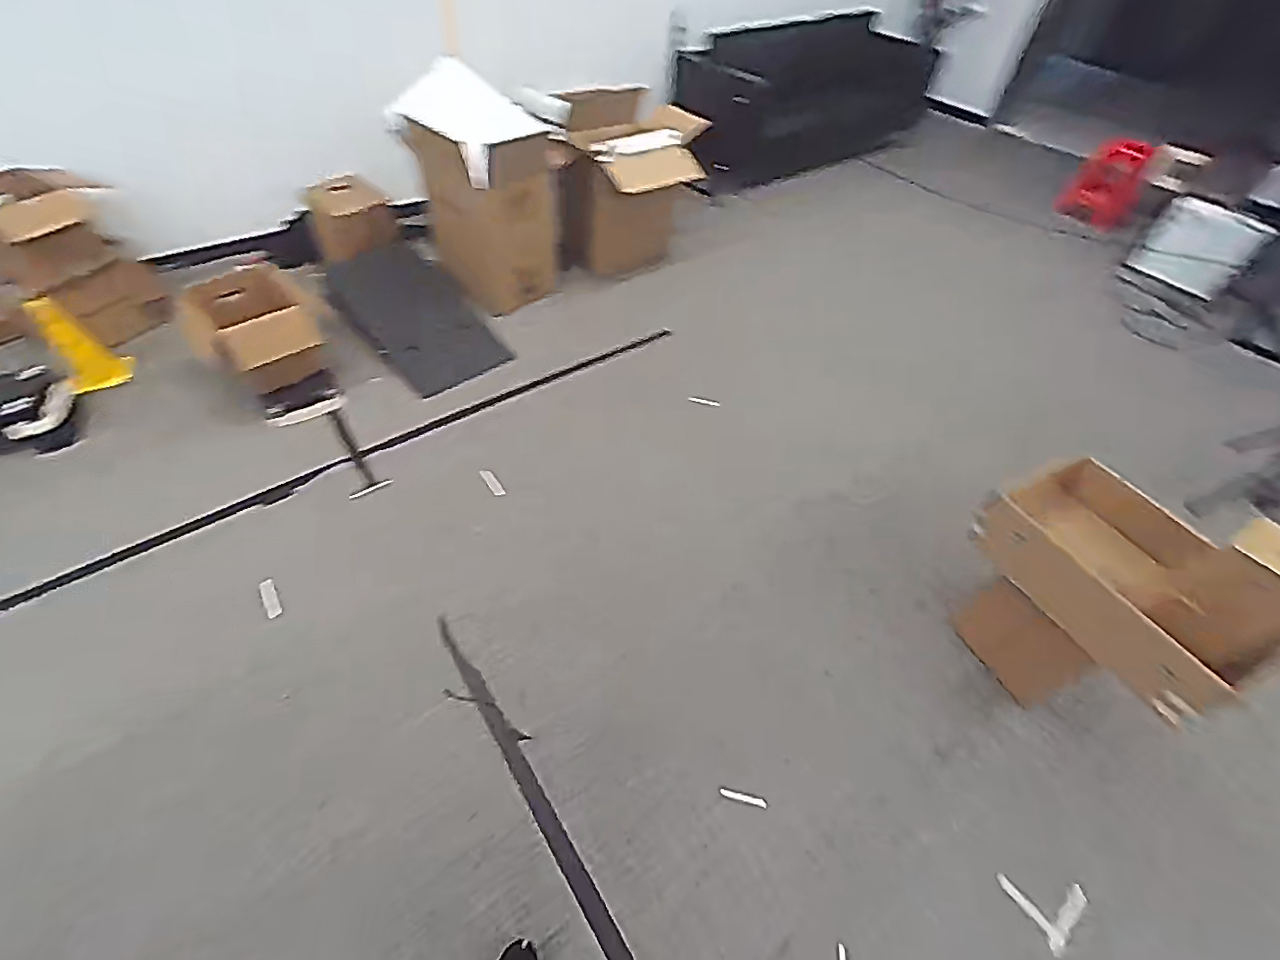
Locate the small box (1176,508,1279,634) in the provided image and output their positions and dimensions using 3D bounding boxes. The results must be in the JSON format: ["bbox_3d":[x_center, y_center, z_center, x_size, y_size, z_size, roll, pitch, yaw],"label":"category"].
[{"bbox_3d":[1.337,0.197,1.166,0.168,0.176,0.179,-23,54,-22],"label":"small box"}]
